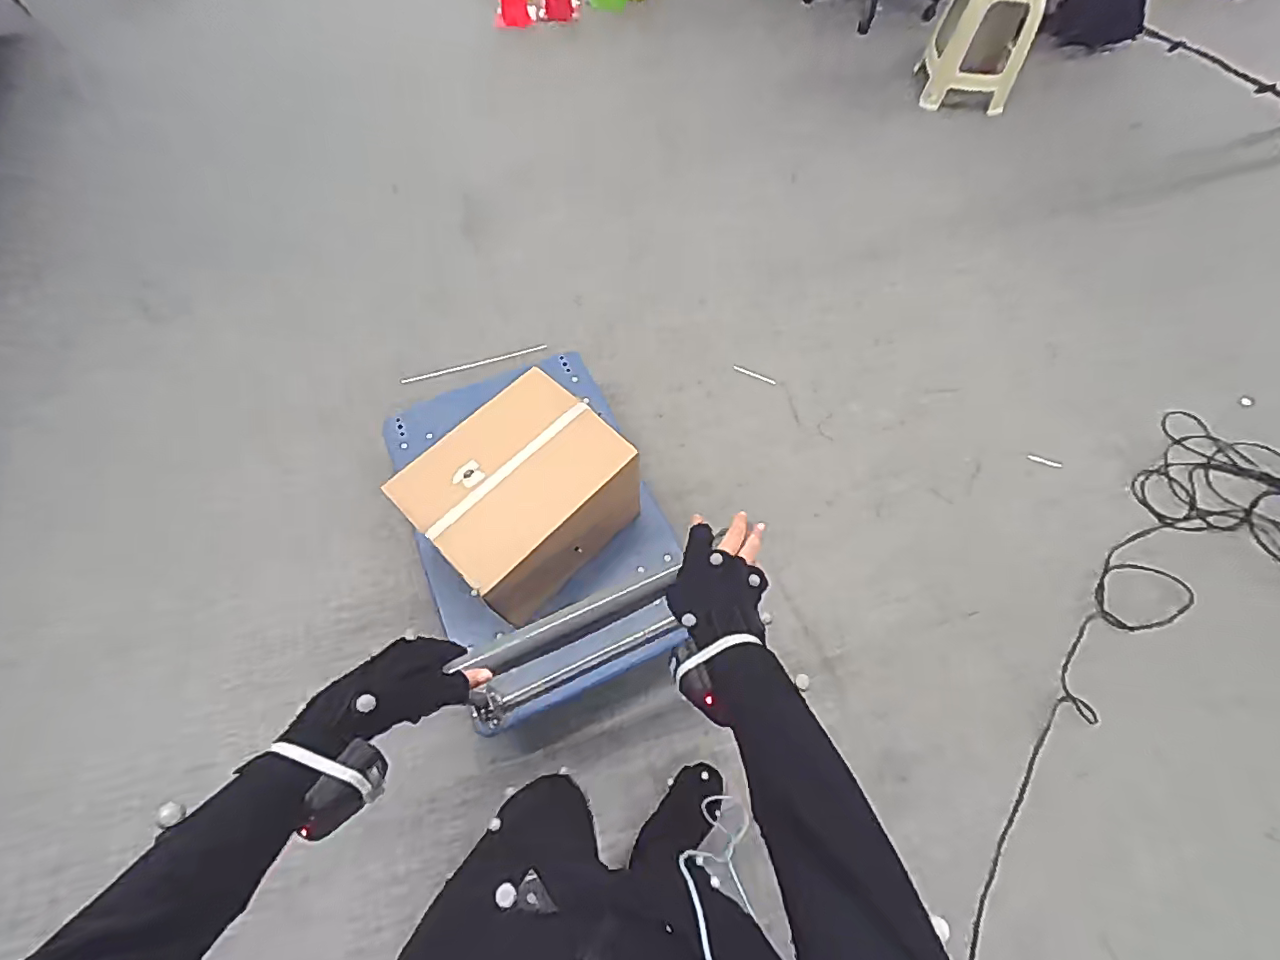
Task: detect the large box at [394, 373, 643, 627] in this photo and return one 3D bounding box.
[{"bbox_3d":[-0.235,0.053,1.199,0.320,0.320,0.408,40,72,18],"label":"large box"}]
